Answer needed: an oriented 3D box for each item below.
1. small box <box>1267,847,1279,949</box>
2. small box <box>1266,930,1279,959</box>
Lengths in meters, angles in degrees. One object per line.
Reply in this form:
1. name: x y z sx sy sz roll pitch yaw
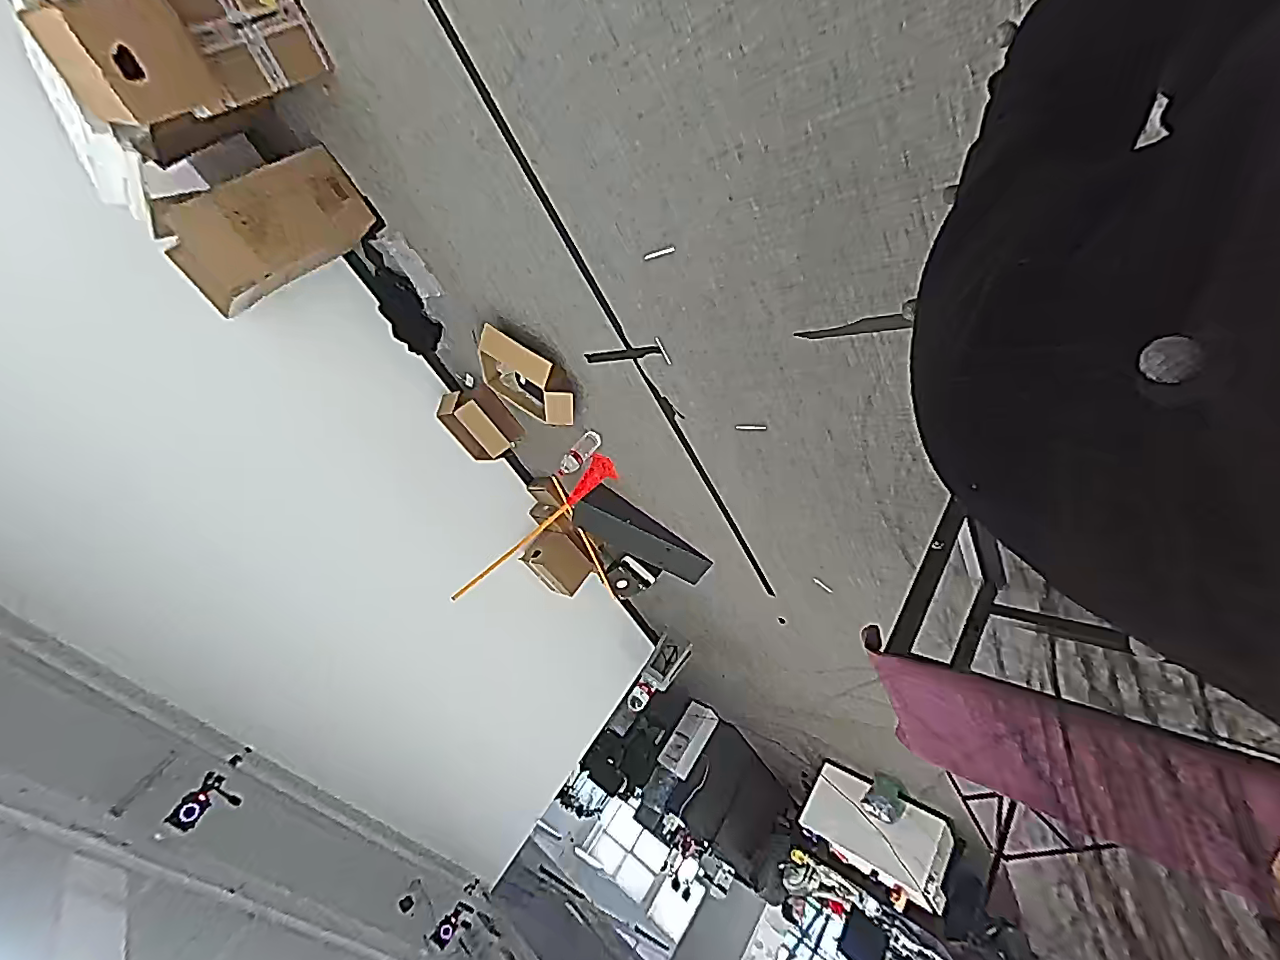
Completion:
1. small box: 1.313 0.825 1.012 0.168 0.176 0.179 8 140 46
2. small box: 1.222 0.942 0.942 0.168 0.176 0.179 7 140 47
